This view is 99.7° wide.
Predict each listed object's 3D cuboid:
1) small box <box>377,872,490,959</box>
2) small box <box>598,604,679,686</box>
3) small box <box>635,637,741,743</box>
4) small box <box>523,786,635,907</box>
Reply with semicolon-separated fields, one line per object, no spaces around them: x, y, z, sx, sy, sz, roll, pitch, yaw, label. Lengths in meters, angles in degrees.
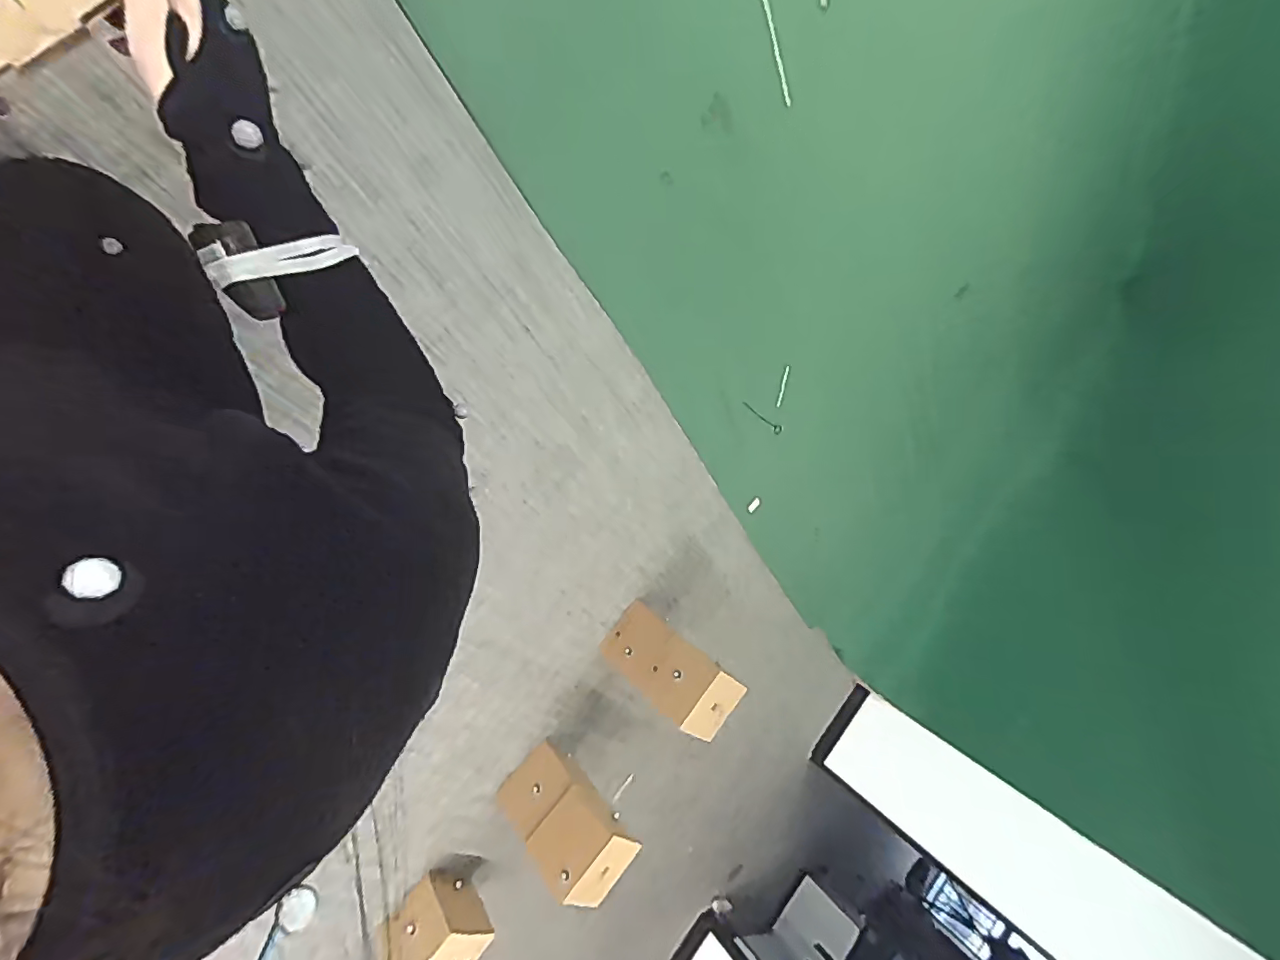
-0.518;1.122;1.346;0.168;0.176;0.179;-47;134;-12;small box
0.017;0.465;1.479;0.168;0.176;0.179;-50;135;-9;small box
0.117;0.522;1.361;0.168;0.176;0.179;-50;135;-7;small box
-0.150;0.884;1.313;0.179;0.176;0.168;-47;135;-13;small box
